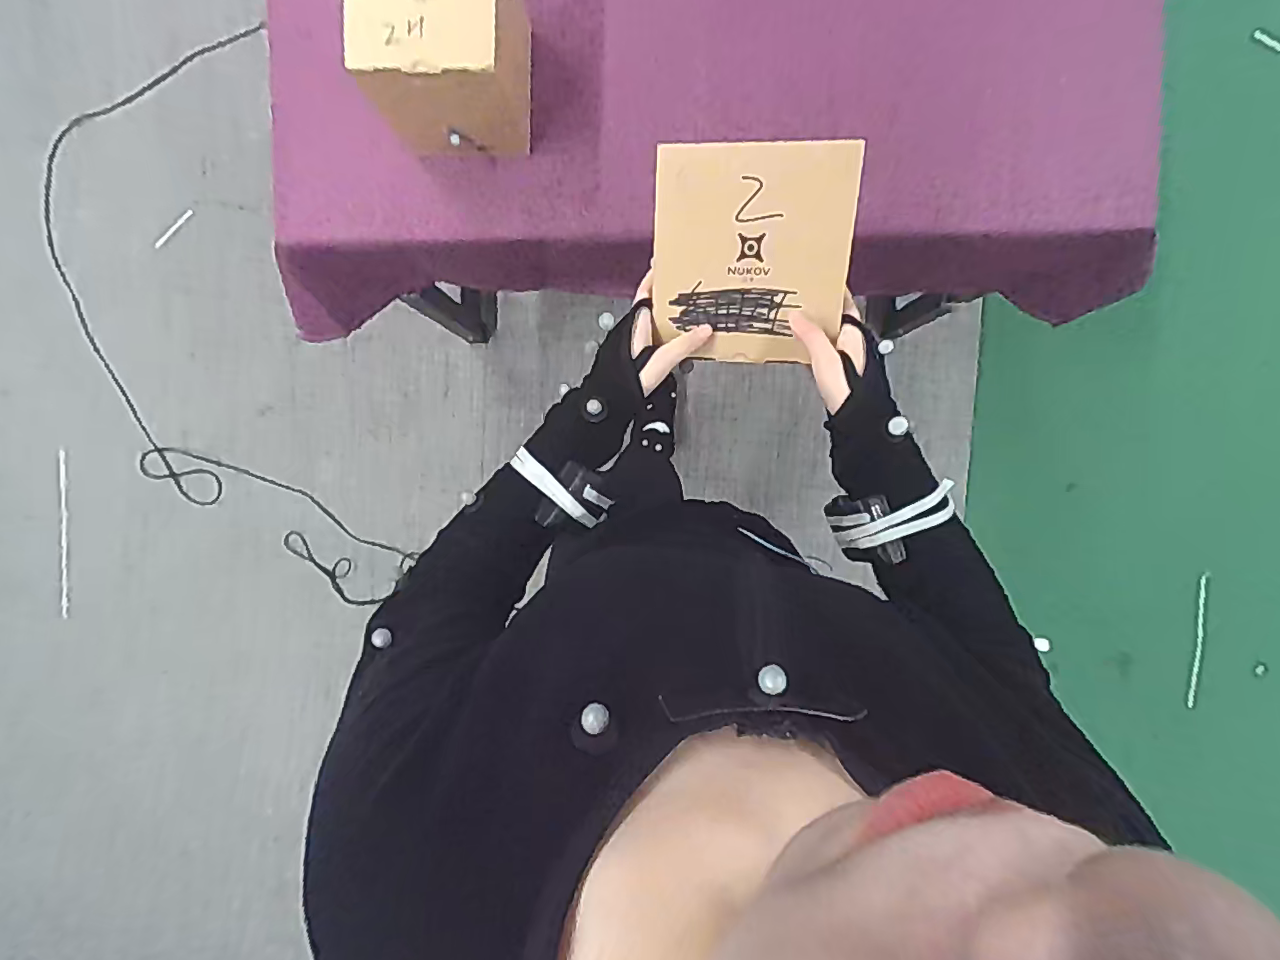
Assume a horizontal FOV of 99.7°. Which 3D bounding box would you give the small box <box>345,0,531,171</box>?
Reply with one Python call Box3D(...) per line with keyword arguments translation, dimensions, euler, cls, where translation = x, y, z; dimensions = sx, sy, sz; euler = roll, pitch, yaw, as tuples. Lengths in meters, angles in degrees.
Box3D(translation=(-0.235, -0.517, 0.666), dimensions=(0.168, 0.176, 0.179), euler=(1, 91, 2), cls="small box")
